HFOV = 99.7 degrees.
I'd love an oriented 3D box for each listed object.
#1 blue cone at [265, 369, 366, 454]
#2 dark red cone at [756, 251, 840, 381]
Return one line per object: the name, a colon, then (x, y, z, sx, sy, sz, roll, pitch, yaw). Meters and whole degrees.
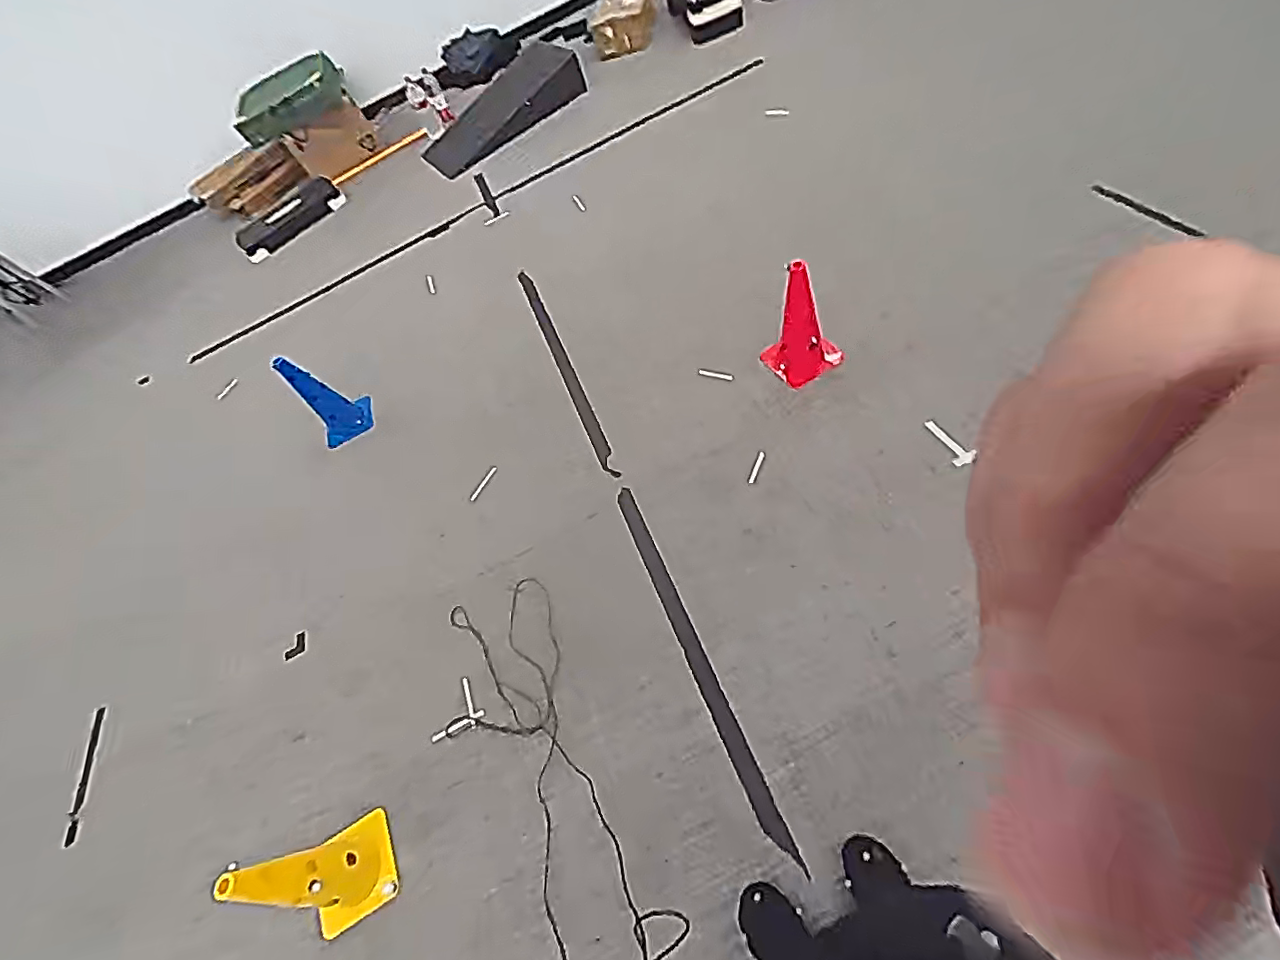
blue cone: (-1.236, -0.287, 2.043, 0.192, 0.380, 0.193, -28, 54, 2)
dark red cone: (0.447, -0.492, 1.571, 0.201, 0.394, 0.202, -34, 54, -3)
